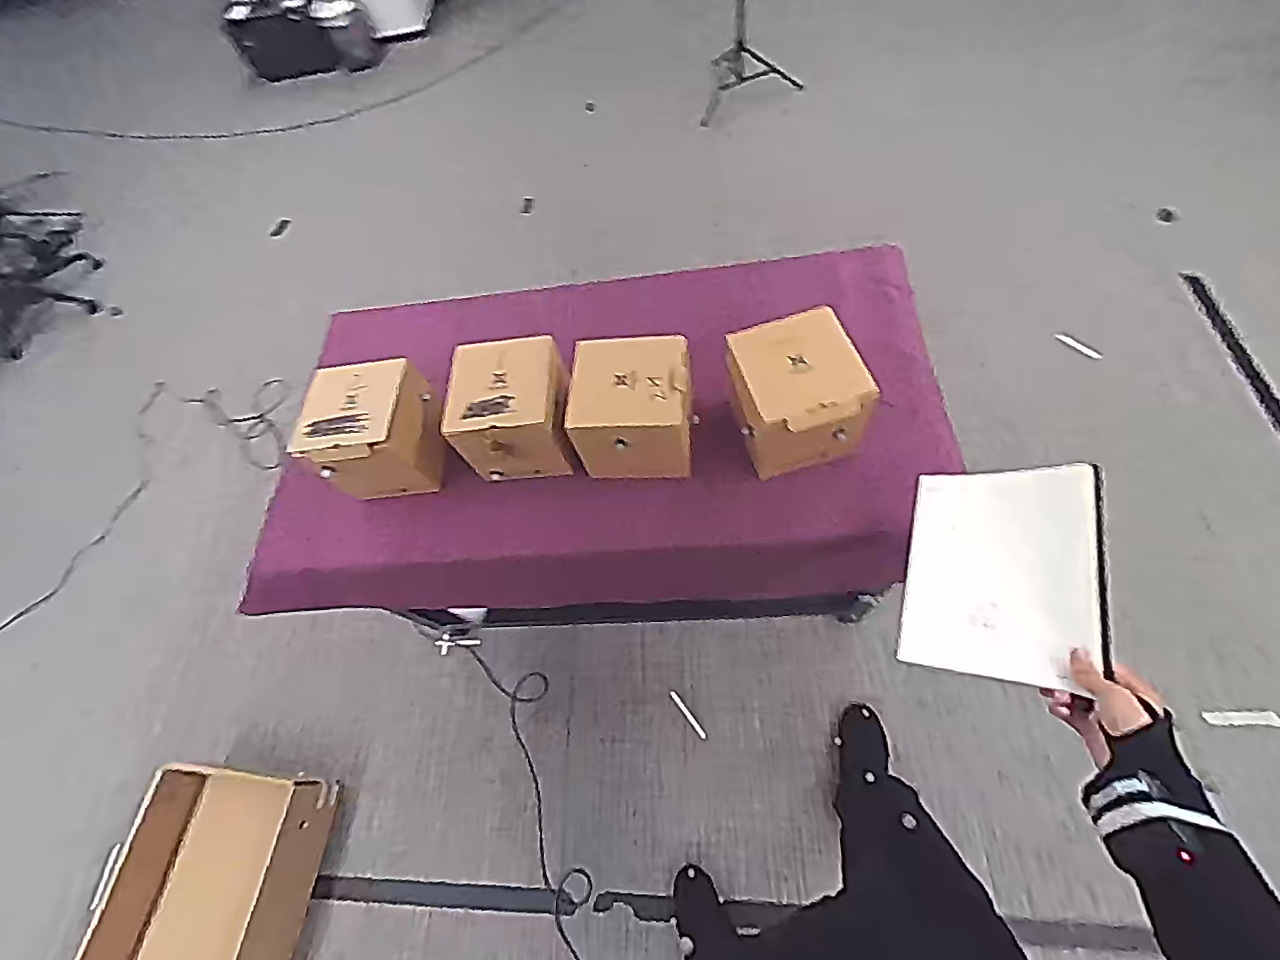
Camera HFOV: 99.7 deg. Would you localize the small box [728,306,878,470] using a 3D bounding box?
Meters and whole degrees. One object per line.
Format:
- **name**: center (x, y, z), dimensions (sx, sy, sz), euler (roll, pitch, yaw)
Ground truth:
- **small box**: center (0.244, -0.132, 0.850), dimensions (0.168, 0.176, 0.179), euler (-16, 61, 2)
